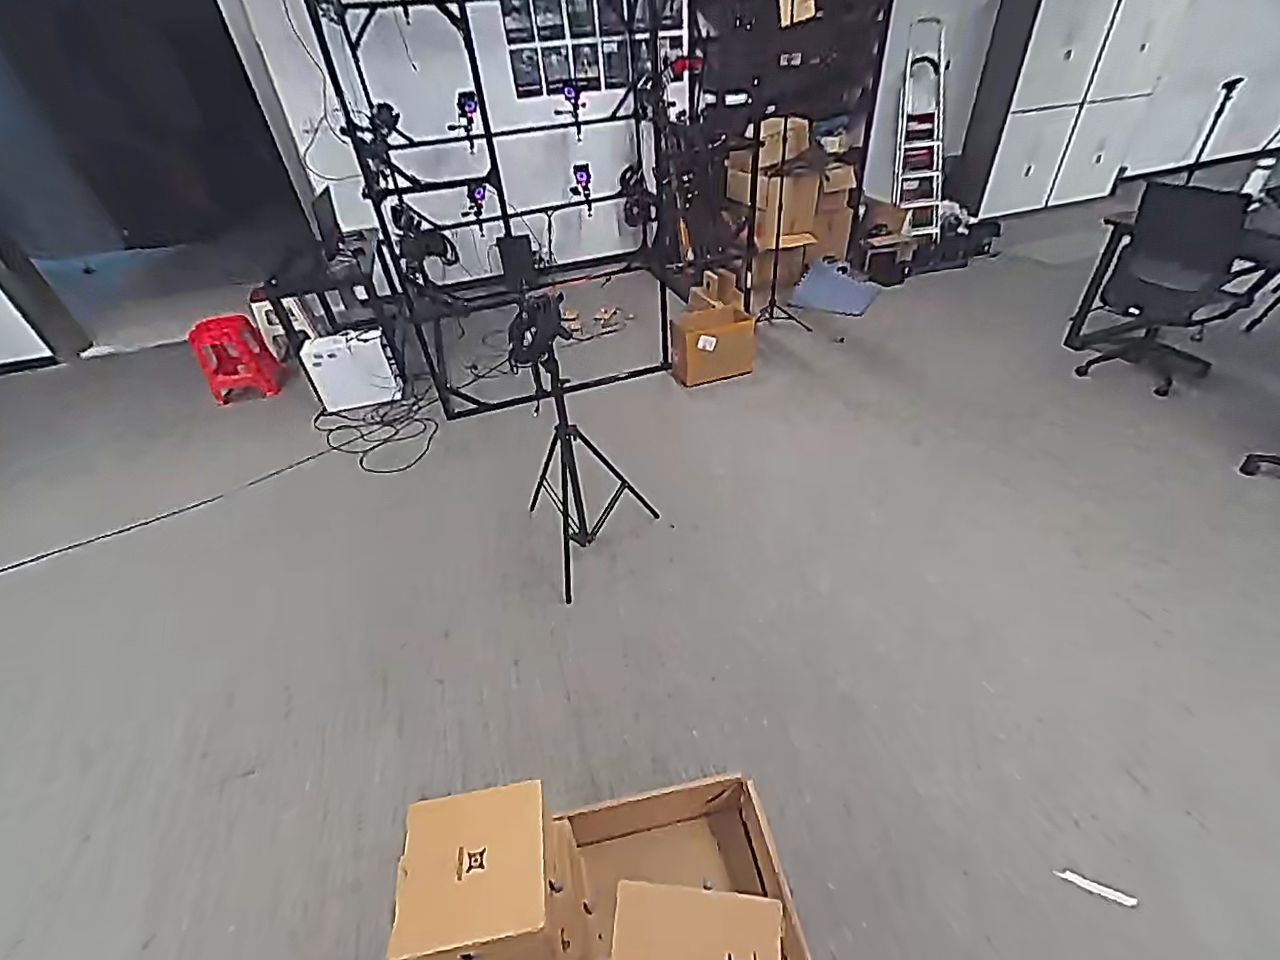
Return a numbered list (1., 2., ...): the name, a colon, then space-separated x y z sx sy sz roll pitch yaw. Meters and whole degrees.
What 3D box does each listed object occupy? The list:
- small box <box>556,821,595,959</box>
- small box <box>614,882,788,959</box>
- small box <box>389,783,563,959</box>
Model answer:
1. small box: -0.163 0.654 0.805 0.168 0.176 0.179 -11 37 -8
2. small box: 0.060 0.551 0.586 0.179 0.176 0.168 3 51 6
3. small box: -0.196 0.529 0.703 0.179 0.176 0.168 -9 37 -6
